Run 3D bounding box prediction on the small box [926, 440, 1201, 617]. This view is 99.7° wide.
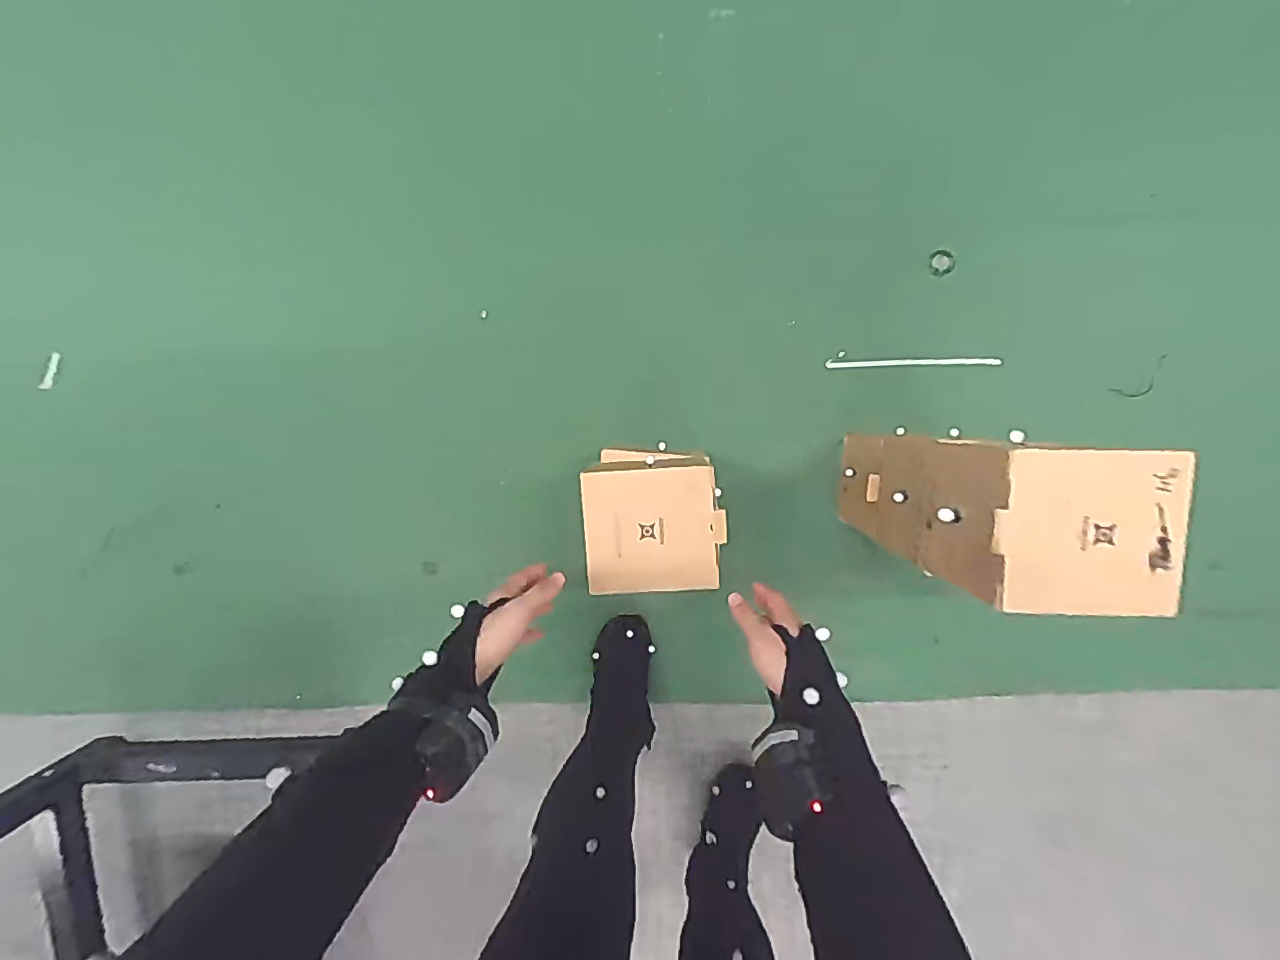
[{"bbox_3d":[0.446,0.042,0.603,0.179,0.176,0.168,1,96,2],"label":"small box"}]

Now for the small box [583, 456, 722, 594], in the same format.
[{"bbox_3d":[0.018,0.056,0.779,0.179,0.176,0.168,-4,96,2],"label":"small box"}]

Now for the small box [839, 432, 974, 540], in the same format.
[{"bbox_3d":[0.465,0.005,0.929,0.179,0.176,0.168,3,97,1],"label":"small box"}]

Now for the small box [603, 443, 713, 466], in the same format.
[{"bbox_3d":[0.023,0.026,0.939,0.179,0.176,0.168,5,96,1],"label":"small box"}]
